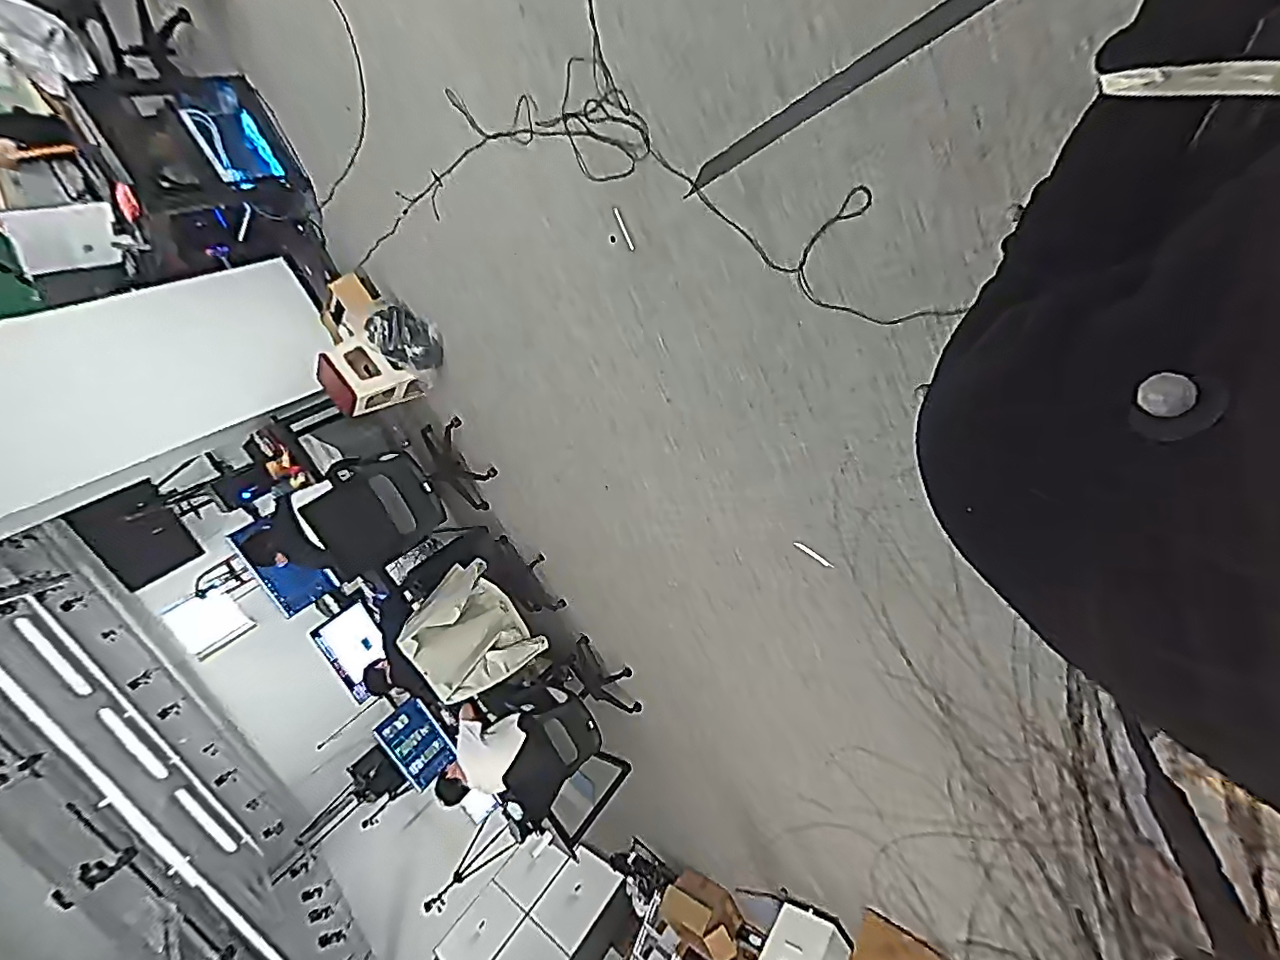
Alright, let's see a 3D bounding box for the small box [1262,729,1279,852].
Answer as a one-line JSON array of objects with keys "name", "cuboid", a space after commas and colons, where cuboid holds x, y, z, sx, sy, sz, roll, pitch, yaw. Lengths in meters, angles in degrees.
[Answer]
[{"name": "small box", "cuboid": [1.283, 0.588, 0.987, 0.179, 0.176, 0.168, -8, 113, 49]}]
